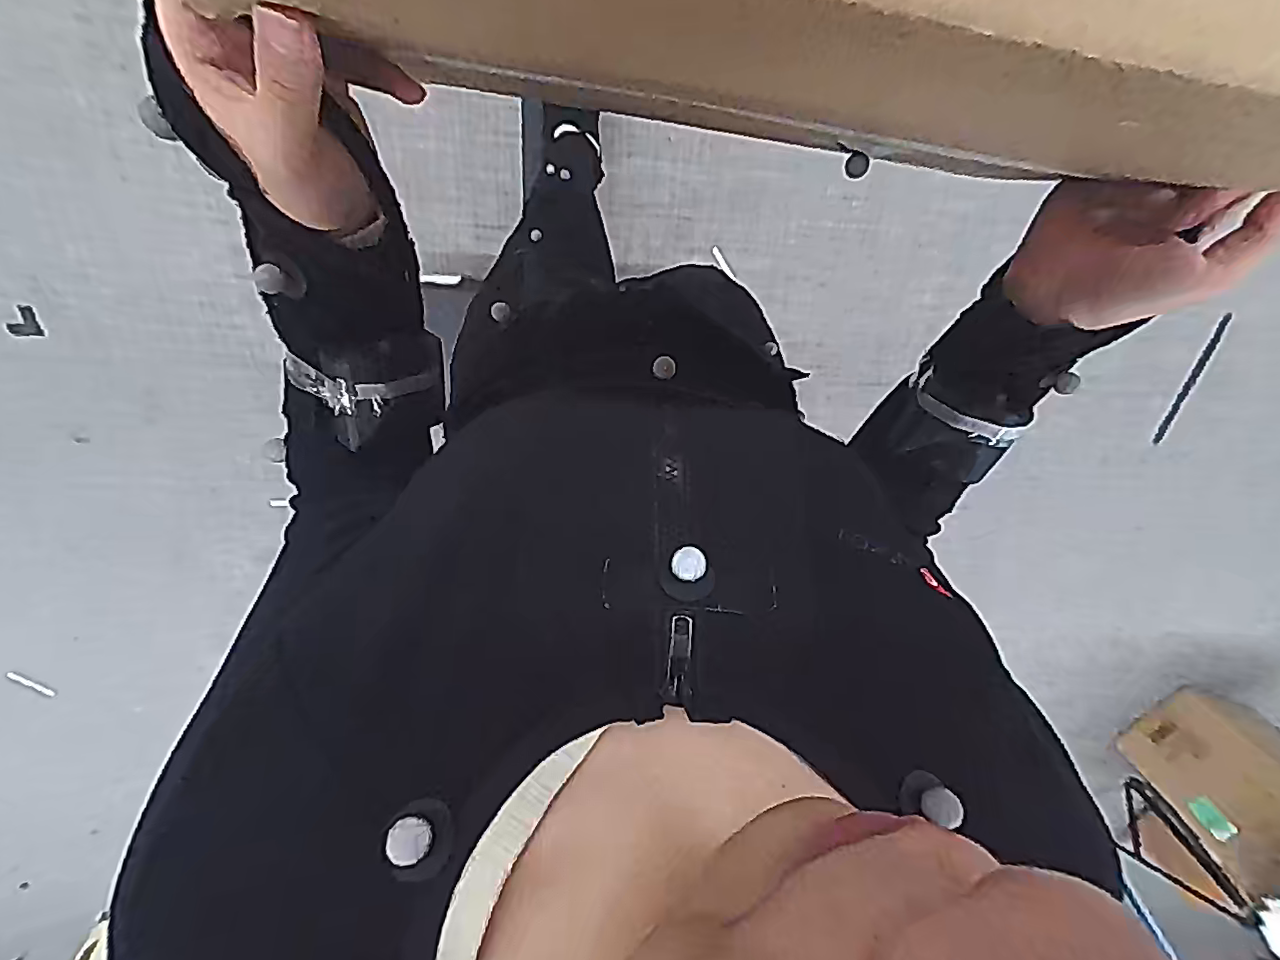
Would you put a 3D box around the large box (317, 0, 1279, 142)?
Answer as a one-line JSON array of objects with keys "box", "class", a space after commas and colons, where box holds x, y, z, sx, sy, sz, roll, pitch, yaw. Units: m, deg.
[{"box": [0.078, -0.311, 0.154, 0.408, 0.320, 0.320, 3, 121, -8], "class": "large box"}]
